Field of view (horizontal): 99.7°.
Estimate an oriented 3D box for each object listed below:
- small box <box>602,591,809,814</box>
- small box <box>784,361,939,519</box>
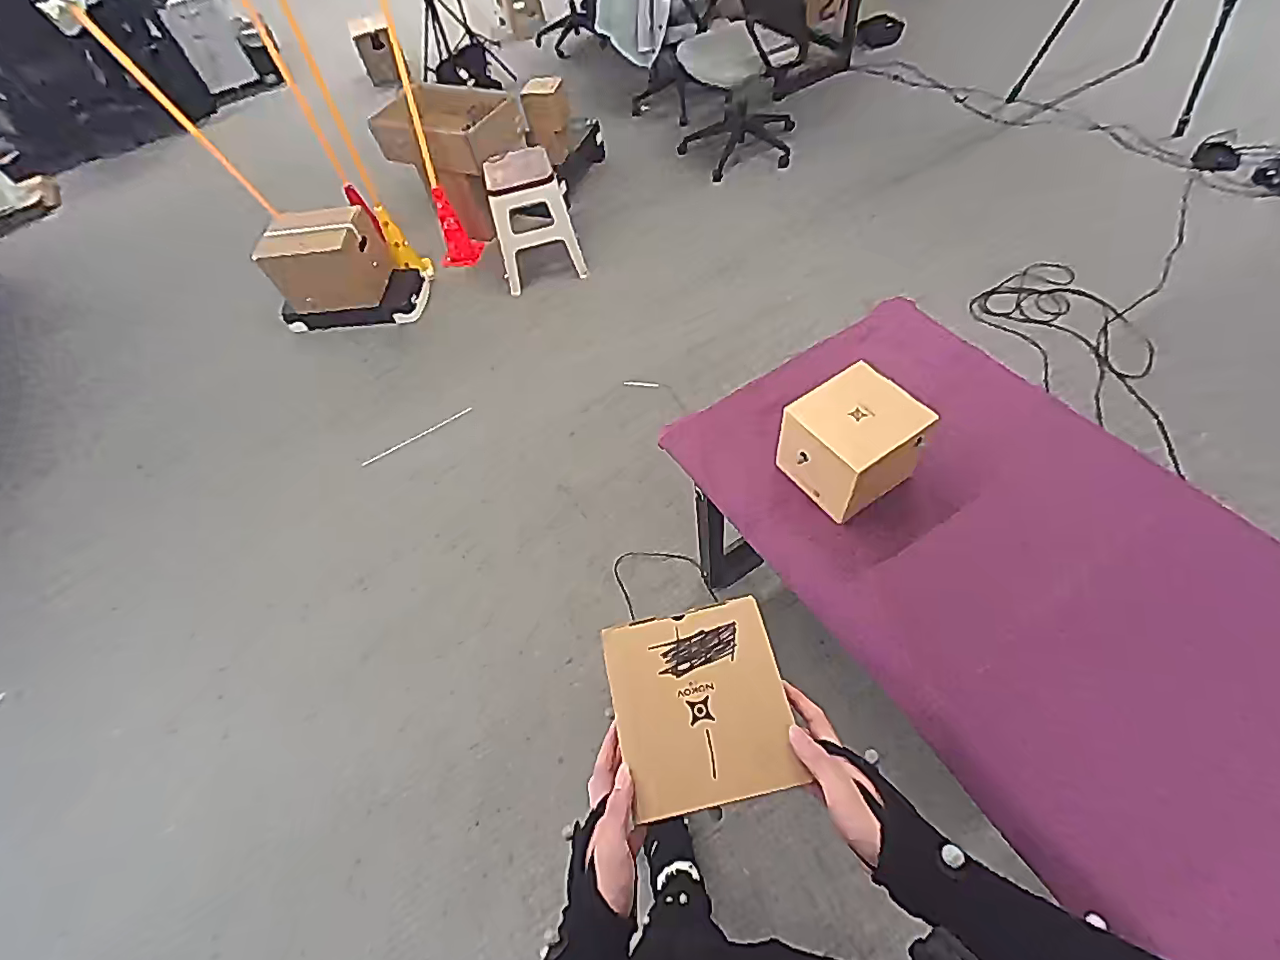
[{"bbox_3d":[0.061,0.242,0.583,0.168,0.176,0.179,-12,61,-1],"label":"small box"},{"bbox_3d":[0.363,-0.063,0.927,0.179,0.176,0.168,-32,58,-13],"label":"small box"}]
